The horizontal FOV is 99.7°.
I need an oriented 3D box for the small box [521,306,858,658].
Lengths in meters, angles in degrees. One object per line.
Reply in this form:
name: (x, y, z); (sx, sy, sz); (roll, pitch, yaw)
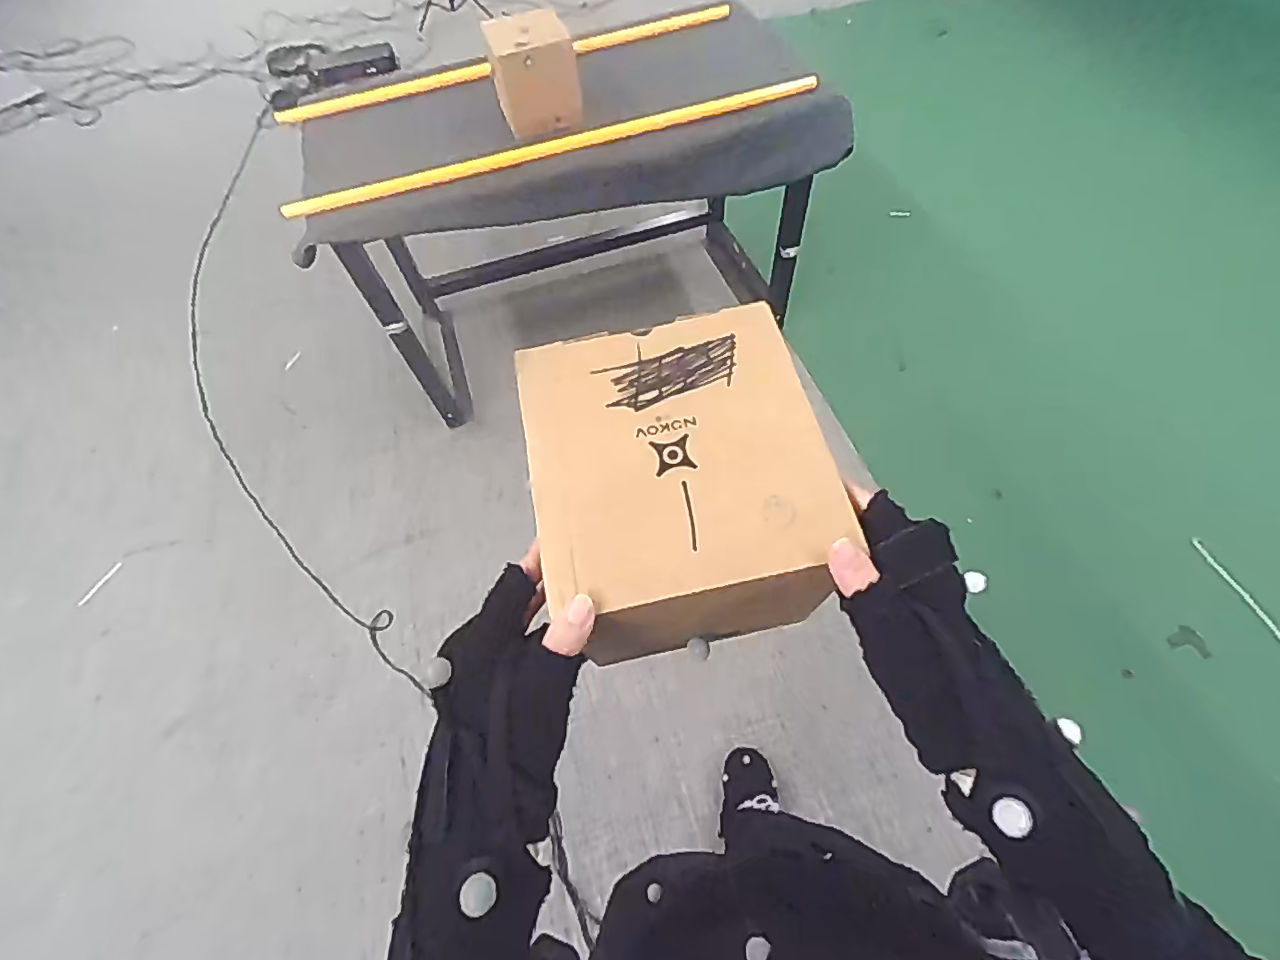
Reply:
small box: (0.023, 0.012, 0.384); (0.168, 0.176, 0.179); (-12, 64, -1)

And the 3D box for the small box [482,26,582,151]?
small box: (-0.243, -0.891, 1.235); (0.168, 0.176, 0.179); (-20, 59, -6)
